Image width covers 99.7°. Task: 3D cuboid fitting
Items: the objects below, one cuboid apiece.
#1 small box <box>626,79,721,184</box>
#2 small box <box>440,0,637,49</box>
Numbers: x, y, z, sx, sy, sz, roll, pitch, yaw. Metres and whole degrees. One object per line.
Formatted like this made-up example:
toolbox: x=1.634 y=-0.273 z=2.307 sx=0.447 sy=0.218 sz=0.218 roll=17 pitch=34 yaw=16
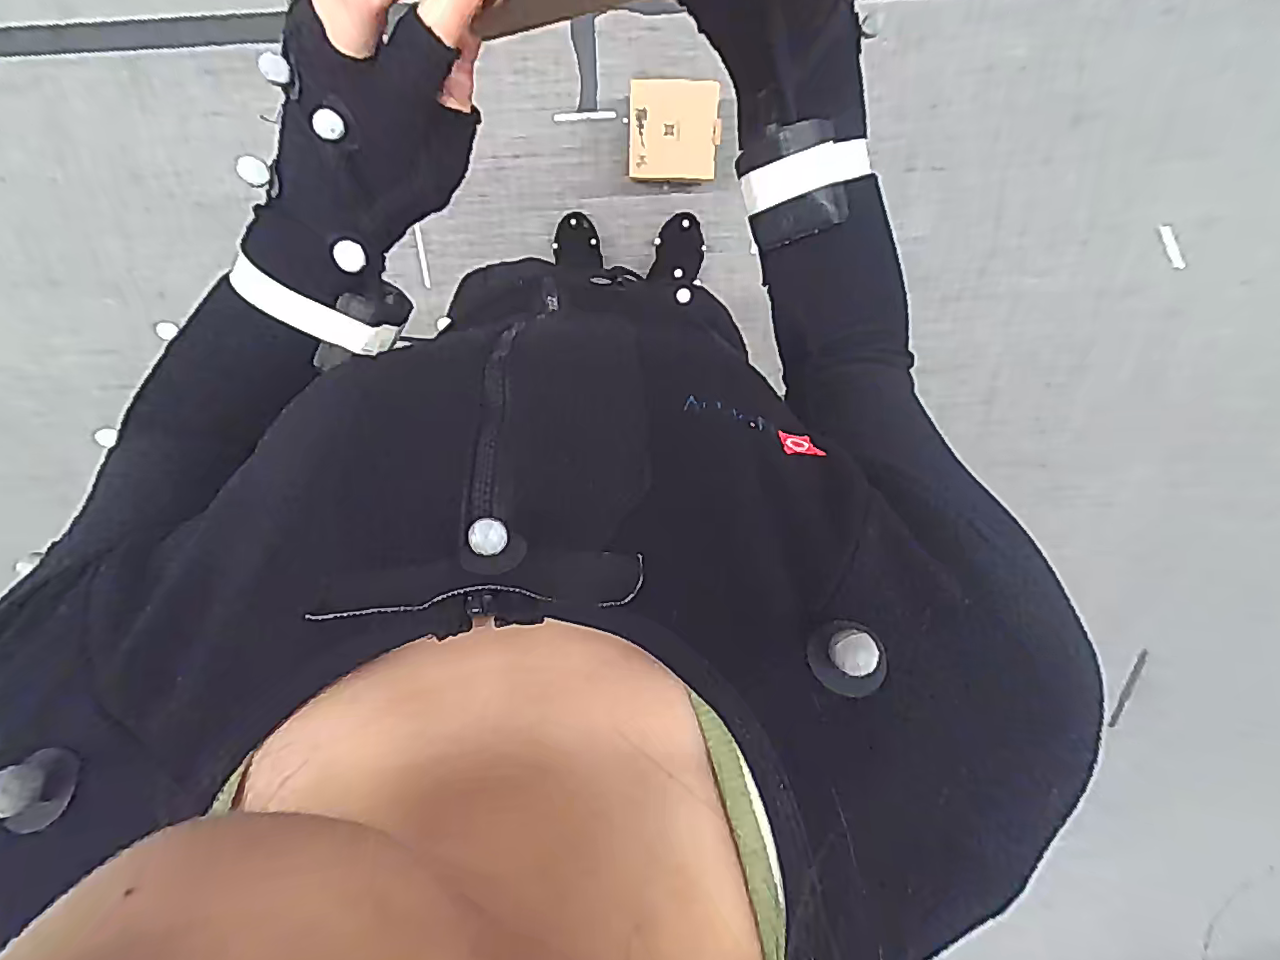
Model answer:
small box: x=0.063 y=-0.725 z=1.140 sx=0.179 sy=0.176 sz=0.168 roll=1 pitch=116 yaw=-3
small box: x=-0.009 y=-0.299 z=0.195 sx=0.168 sy=0.179 sz=0.176 roll=-33 pitch=127 yaw=-21
